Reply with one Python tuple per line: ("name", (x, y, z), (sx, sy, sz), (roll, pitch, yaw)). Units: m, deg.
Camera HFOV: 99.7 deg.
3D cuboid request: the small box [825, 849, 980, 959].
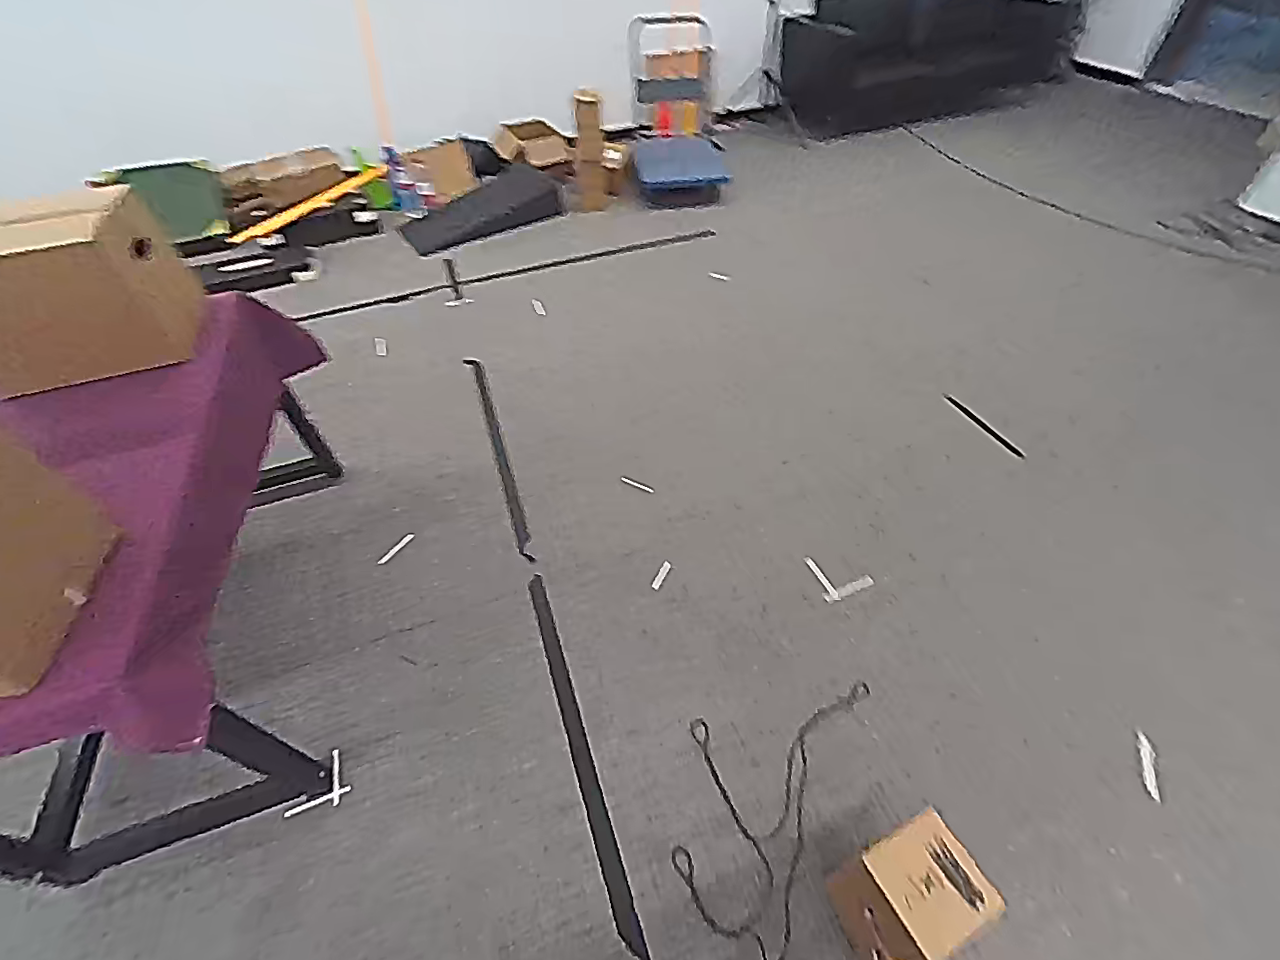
("small box", (0.512, 0.856, 1.061), (0.179, 0.176, 0.168), (-10, 65, -31))
